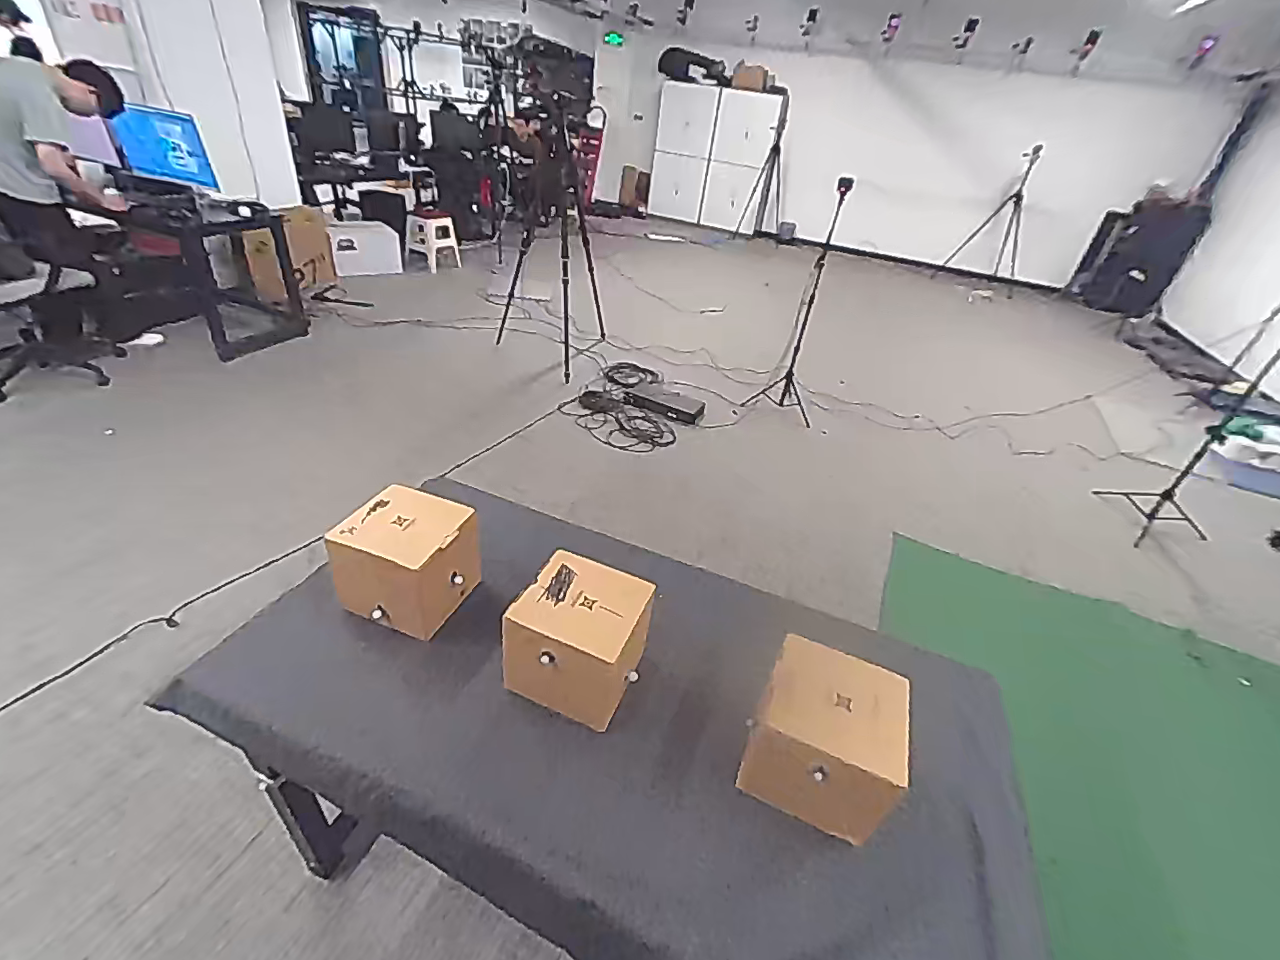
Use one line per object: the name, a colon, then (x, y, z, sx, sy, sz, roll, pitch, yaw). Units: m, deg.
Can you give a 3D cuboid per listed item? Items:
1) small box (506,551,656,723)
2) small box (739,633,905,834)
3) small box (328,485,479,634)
small box: (-0.093, 0.247, 0.853, 0.179, 0.176, 0.168, 18, 35, 14)
small box: (0.254, 0.359, 0.767, 0.179, 0.176, 0.168, 19, 37, 15)
small box: (-0.397, 0.141, 0.943, 0.179, 0.176, 0.168, 17, 35, 11)
